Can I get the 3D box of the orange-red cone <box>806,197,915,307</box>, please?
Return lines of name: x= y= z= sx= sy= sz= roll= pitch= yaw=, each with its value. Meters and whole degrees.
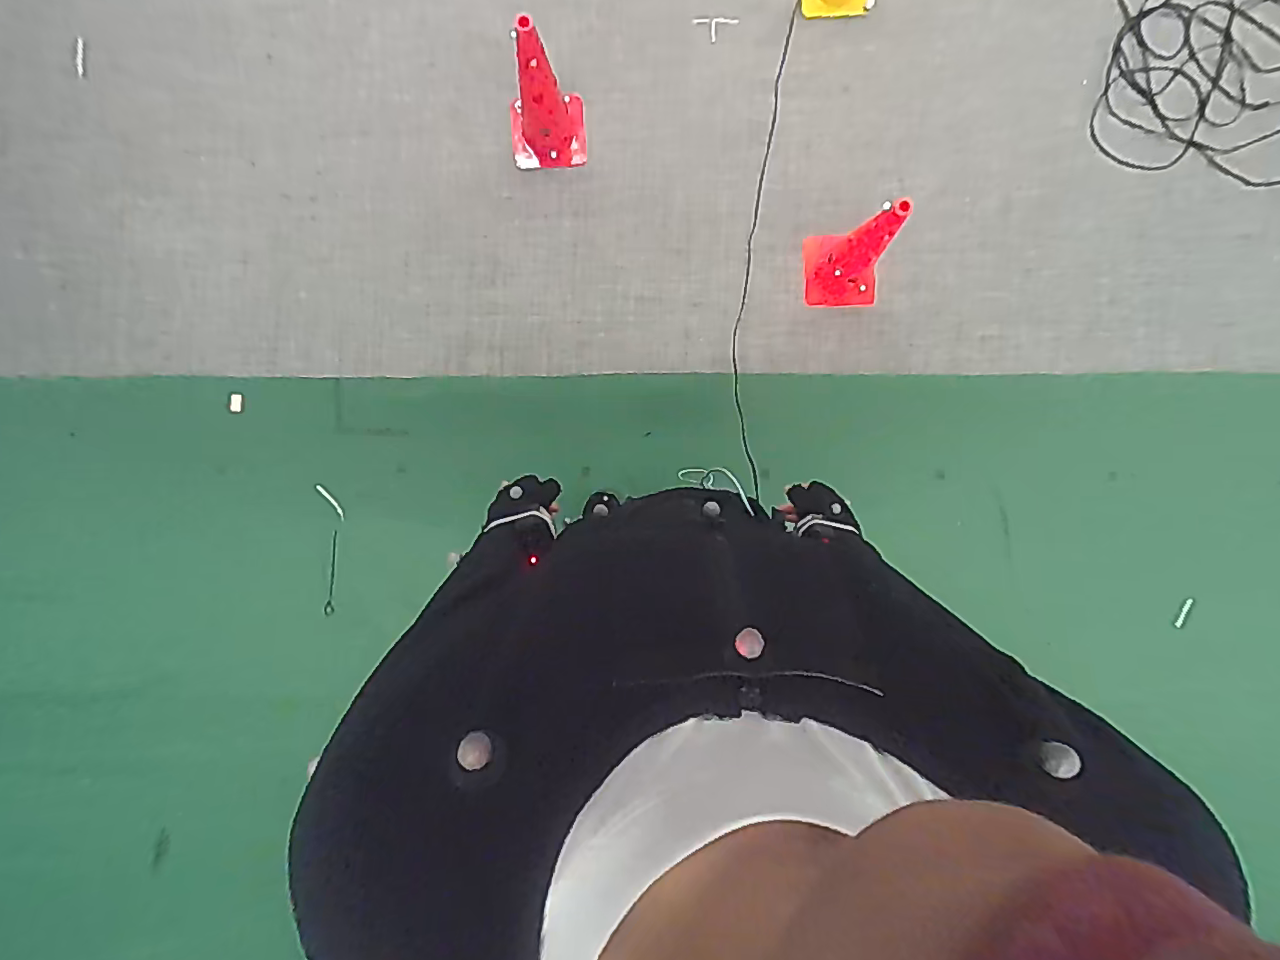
orange-red cone: x=0.566 y=-0.588 z=1.333 sx=0.198 sy=0.360 sz=0.199 roll=0 pitch=88 yaw=-2

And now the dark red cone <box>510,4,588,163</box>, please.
dark red cone: x=-0.244 y=-0.964 z=1.303 sx=0.202 sy=0.394 sz=0.201 roll=-6 pitch=91 yaw=-1
